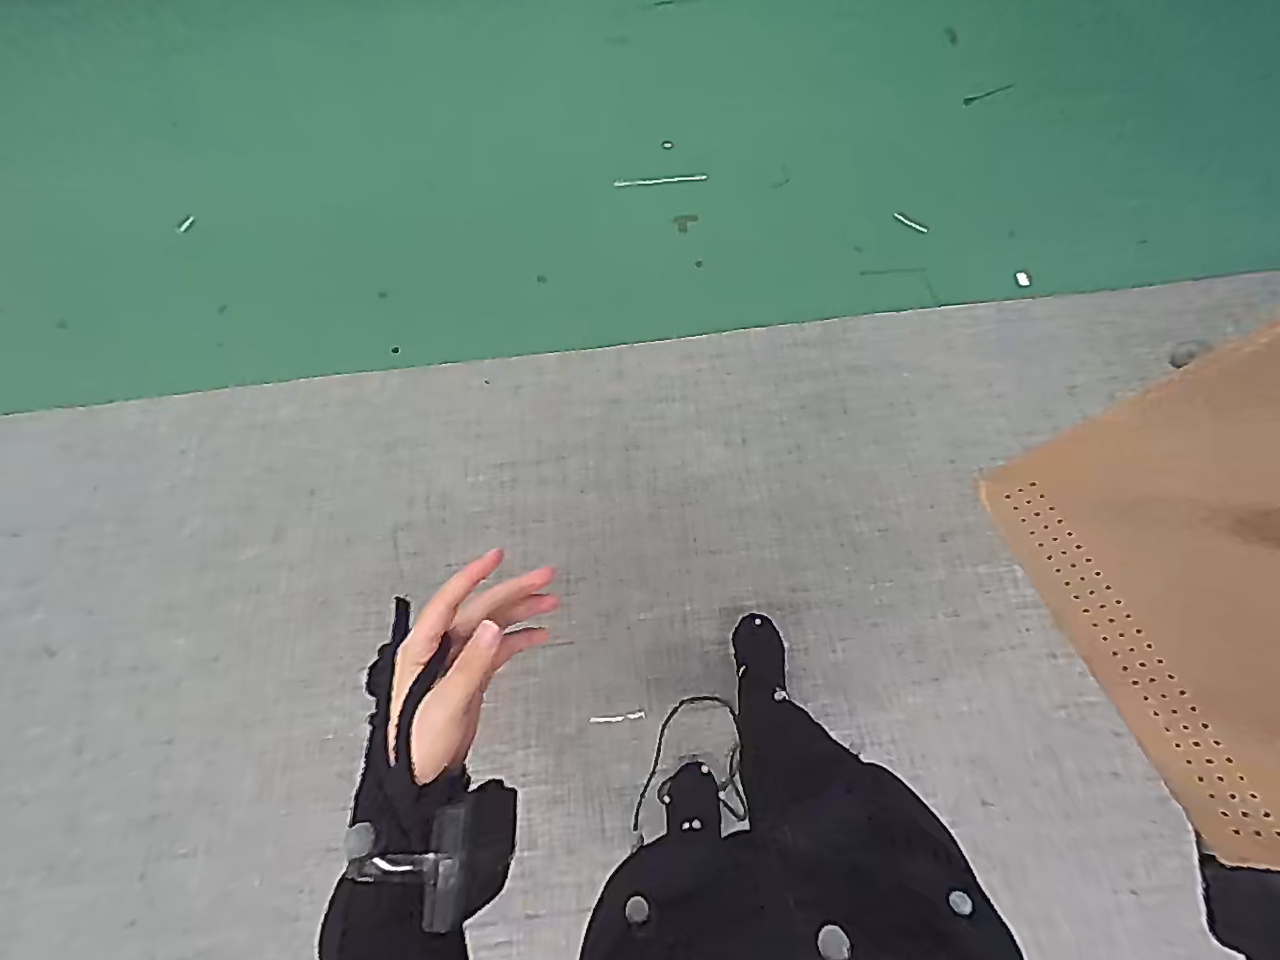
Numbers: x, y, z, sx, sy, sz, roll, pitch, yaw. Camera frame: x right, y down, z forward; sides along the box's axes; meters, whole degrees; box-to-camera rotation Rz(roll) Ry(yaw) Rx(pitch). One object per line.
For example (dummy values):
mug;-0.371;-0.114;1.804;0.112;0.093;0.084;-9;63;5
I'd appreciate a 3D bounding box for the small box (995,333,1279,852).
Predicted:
small box;0.300;0.028;0.220;0.168;0.176;0.179;-13;67;-27
